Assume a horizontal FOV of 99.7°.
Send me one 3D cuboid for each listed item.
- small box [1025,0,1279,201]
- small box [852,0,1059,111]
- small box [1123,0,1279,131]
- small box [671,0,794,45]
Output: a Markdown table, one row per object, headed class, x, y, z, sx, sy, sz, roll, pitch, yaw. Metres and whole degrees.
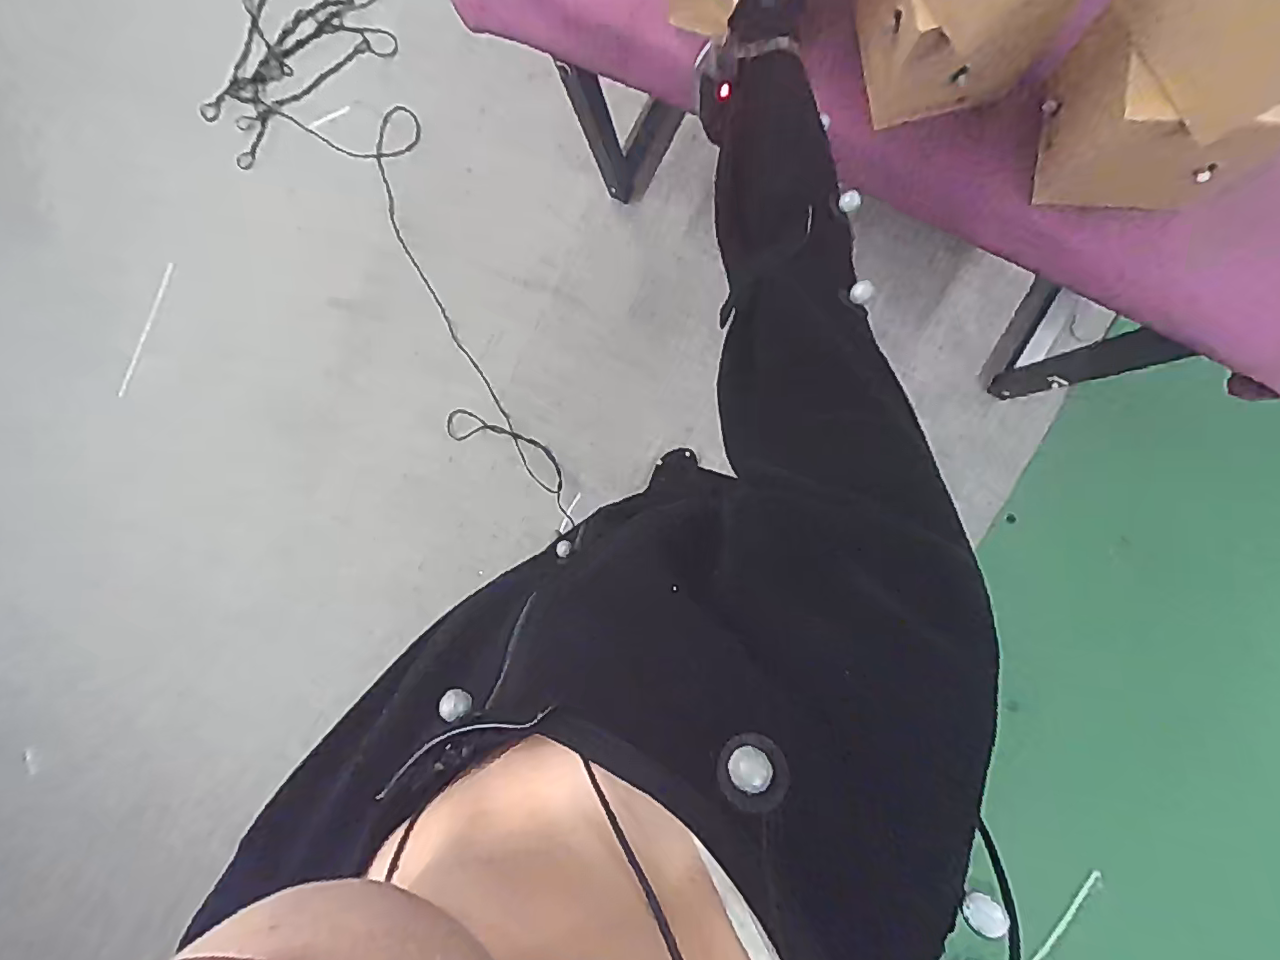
| class | x | y | z | sx | sy | sz | roll | pitch | yaw |
| --- | --- | --- | --- | --- | --- | --- | --- | --- | --- |
| small box | 0.584 | -0.437 | 0.610 | 0.179 | 0.176 | 0.168 | 7 | 91 | 8 |
| small box | 0.363 | -0.574 | 0.634 | 0.168 | 0.176 | 0.179 | -10 | 90 | 7 |
| small box | 0.567 | -0.447 | 0.447 | 0.168 | 0.176 | 0.179 | -27 | 87 | 6 |
| small box | 0.131 | -0.695 | 0.664 | 0.168 | 0.176 | 0.179 | 22 | 93 | 7 |
